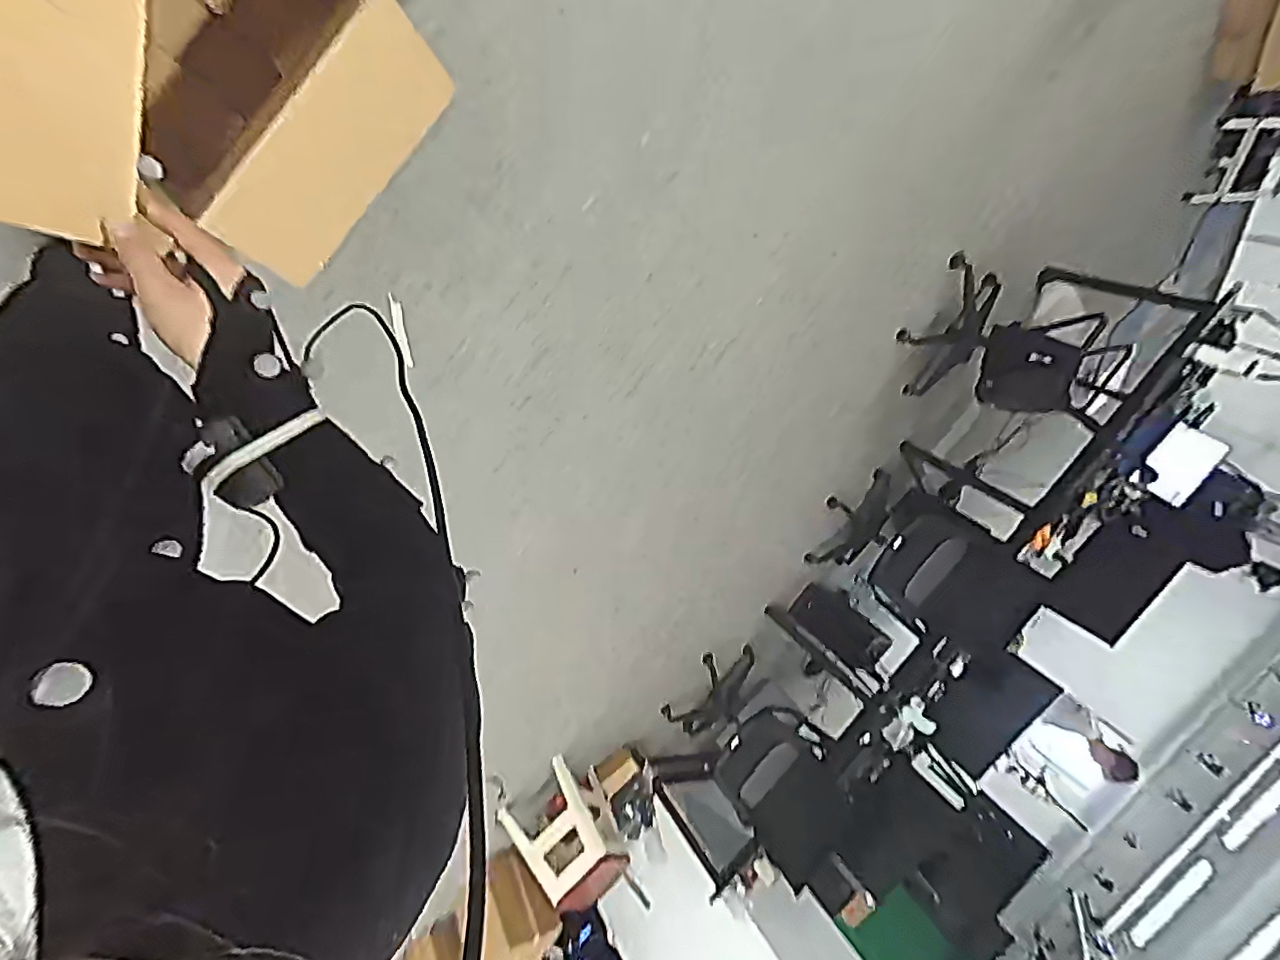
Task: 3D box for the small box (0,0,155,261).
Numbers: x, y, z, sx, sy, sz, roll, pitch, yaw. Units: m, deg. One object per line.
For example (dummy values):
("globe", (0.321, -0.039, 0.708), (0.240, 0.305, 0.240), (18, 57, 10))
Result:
("small box", (-0.418, -0.247, 0.321), (0.179, 0.176, 0.168), (3, 108, -46))
